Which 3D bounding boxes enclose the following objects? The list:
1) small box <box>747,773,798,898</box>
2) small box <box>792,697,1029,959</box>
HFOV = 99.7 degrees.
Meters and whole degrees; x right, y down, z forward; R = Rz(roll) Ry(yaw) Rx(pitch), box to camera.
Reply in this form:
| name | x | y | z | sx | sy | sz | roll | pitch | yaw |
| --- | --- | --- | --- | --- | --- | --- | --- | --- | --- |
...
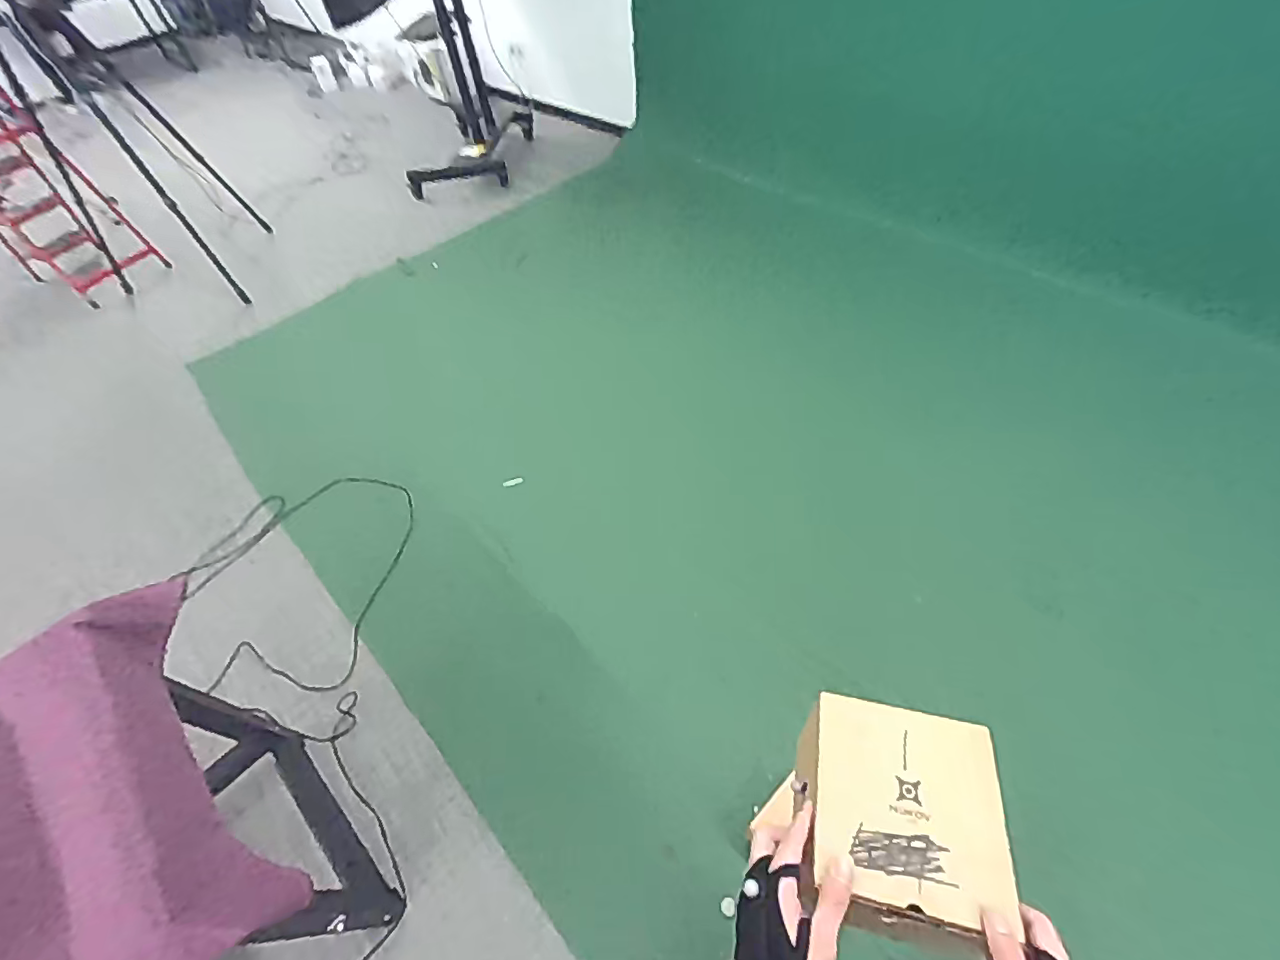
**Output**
| name | x | y | z | sx | sy | sz | roll | pitch | yaw |
| --- | --- | --- | --- | --- | --- | --- | --- | --- | --- |
| small box | 0.354 | 0.795 | 1.206 | 0.179 | 0.176 | 0.168 | -39 | 59 | -21 |
| small box | 0.253 | 0.355 | 0.550 | 0.168 | 0.176 | 0.179 | 8 | 47 | 12 |
